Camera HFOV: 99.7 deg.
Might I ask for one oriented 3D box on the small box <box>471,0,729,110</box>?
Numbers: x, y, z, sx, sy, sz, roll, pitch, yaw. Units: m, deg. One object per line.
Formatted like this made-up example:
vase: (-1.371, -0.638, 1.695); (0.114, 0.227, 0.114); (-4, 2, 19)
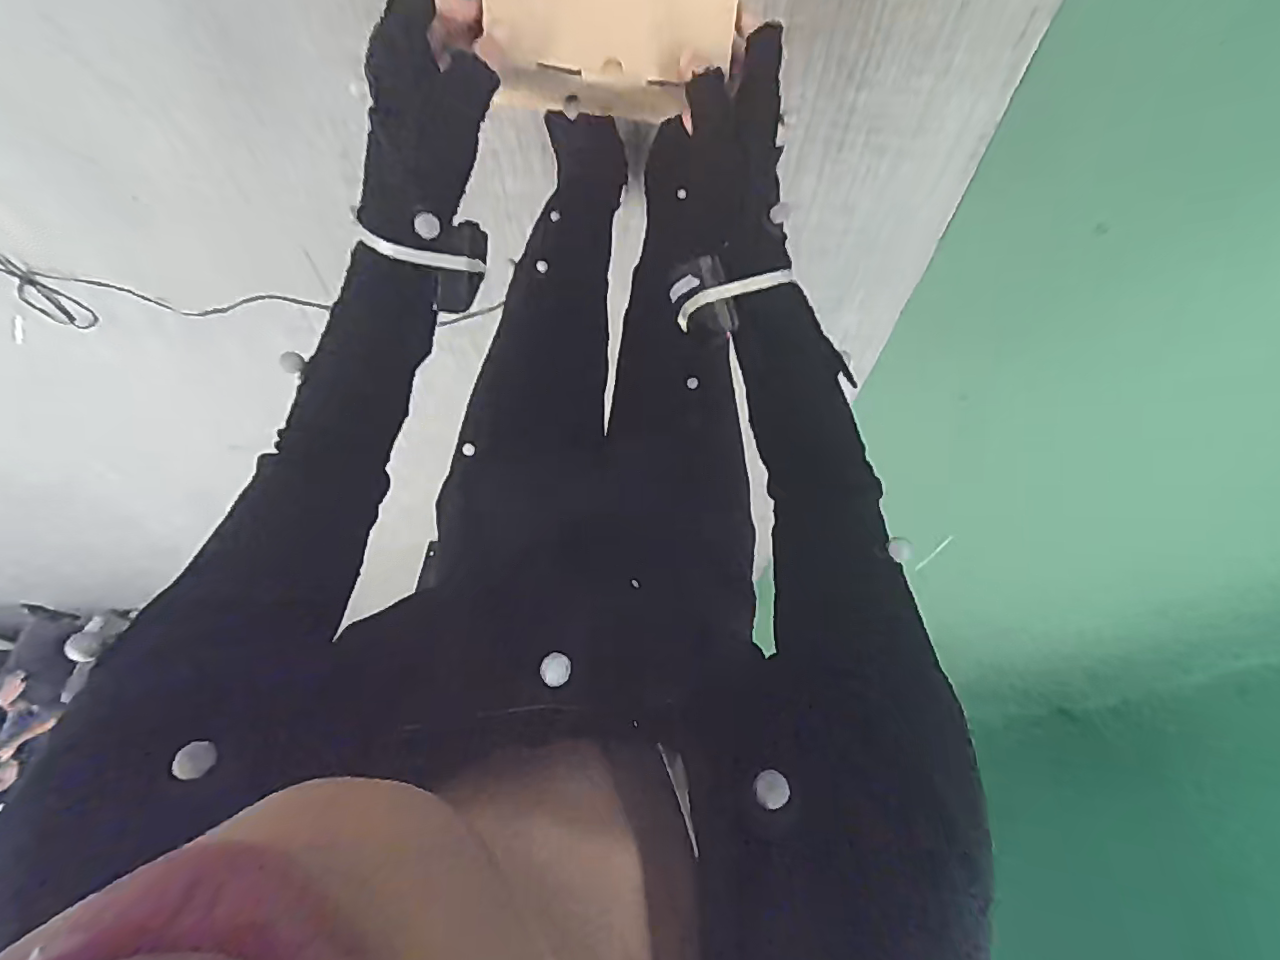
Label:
small box: (-0.037, -0.388, 0.388); (0.168, 0.176, 0.179); (-3, 120, -15)
